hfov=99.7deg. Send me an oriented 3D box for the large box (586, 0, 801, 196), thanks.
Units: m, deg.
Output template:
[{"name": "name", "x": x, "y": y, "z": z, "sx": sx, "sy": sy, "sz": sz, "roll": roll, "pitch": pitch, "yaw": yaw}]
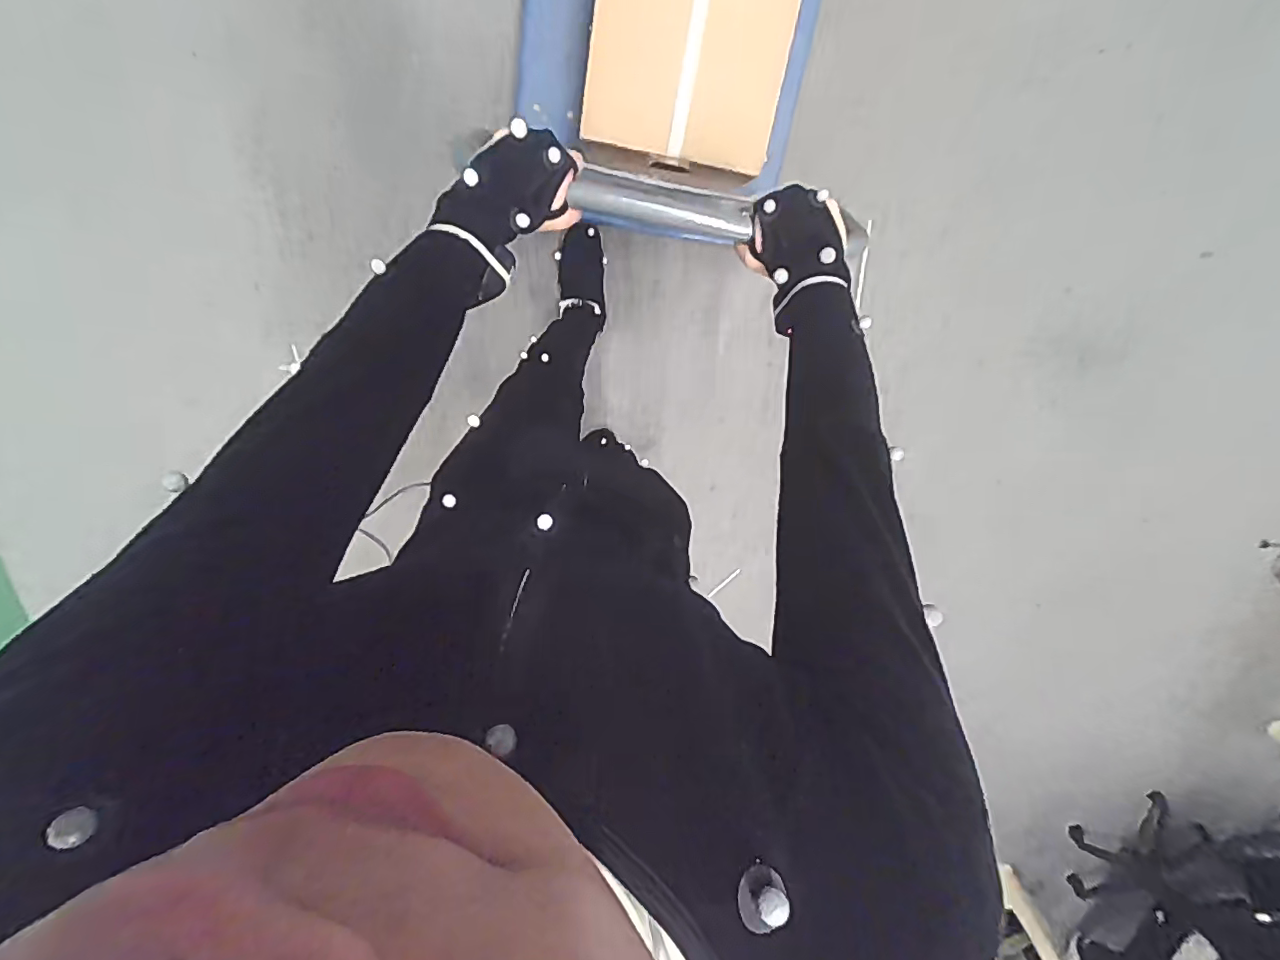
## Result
[{"name": "large box", "x": 0.085, "y": -0.777, "z": 0.977, "sx": 0.320, "sy": 0.320, "sz": 0.408, "roll": 8, "pitch": 110, "yaw": -7}]
